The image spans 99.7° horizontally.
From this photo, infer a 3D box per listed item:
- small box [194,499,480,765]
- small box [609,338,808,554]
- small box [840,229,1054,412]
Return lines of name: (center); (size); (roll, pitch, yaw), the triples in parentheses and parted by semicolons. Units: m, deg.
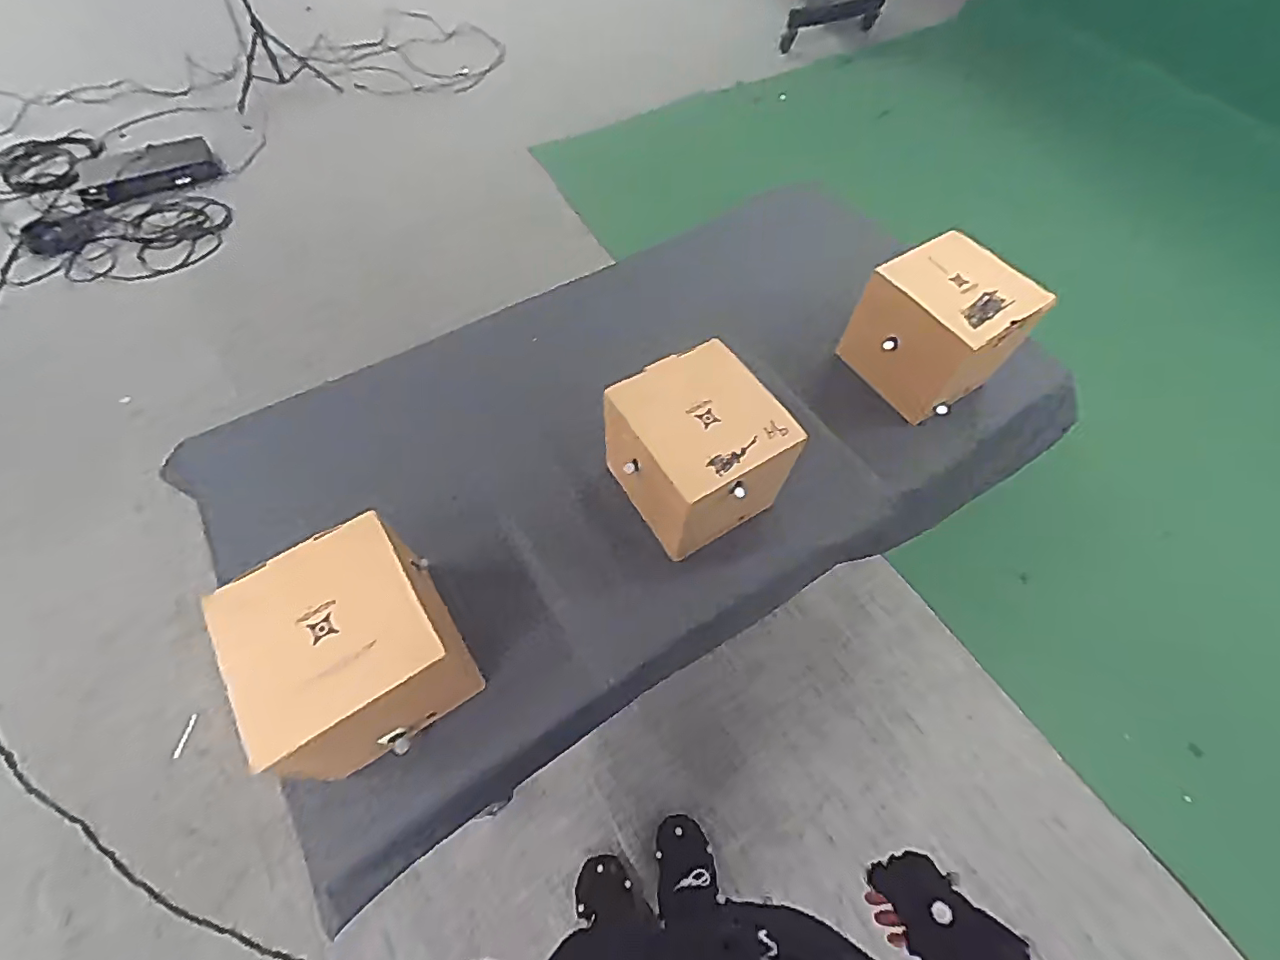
small box: (-0.282, 0.156, 0.534); (0.168, 0.176, 0.179); (-29, 65, -15)
small box: (0.072, -0.038, 0.680); (0.168, 0.176, 0.179); (-28, 65, -16)
small box: (0.433, -0.223, 0.794); (0.168, 0.176, 0.179); (-28, 64, -16)
